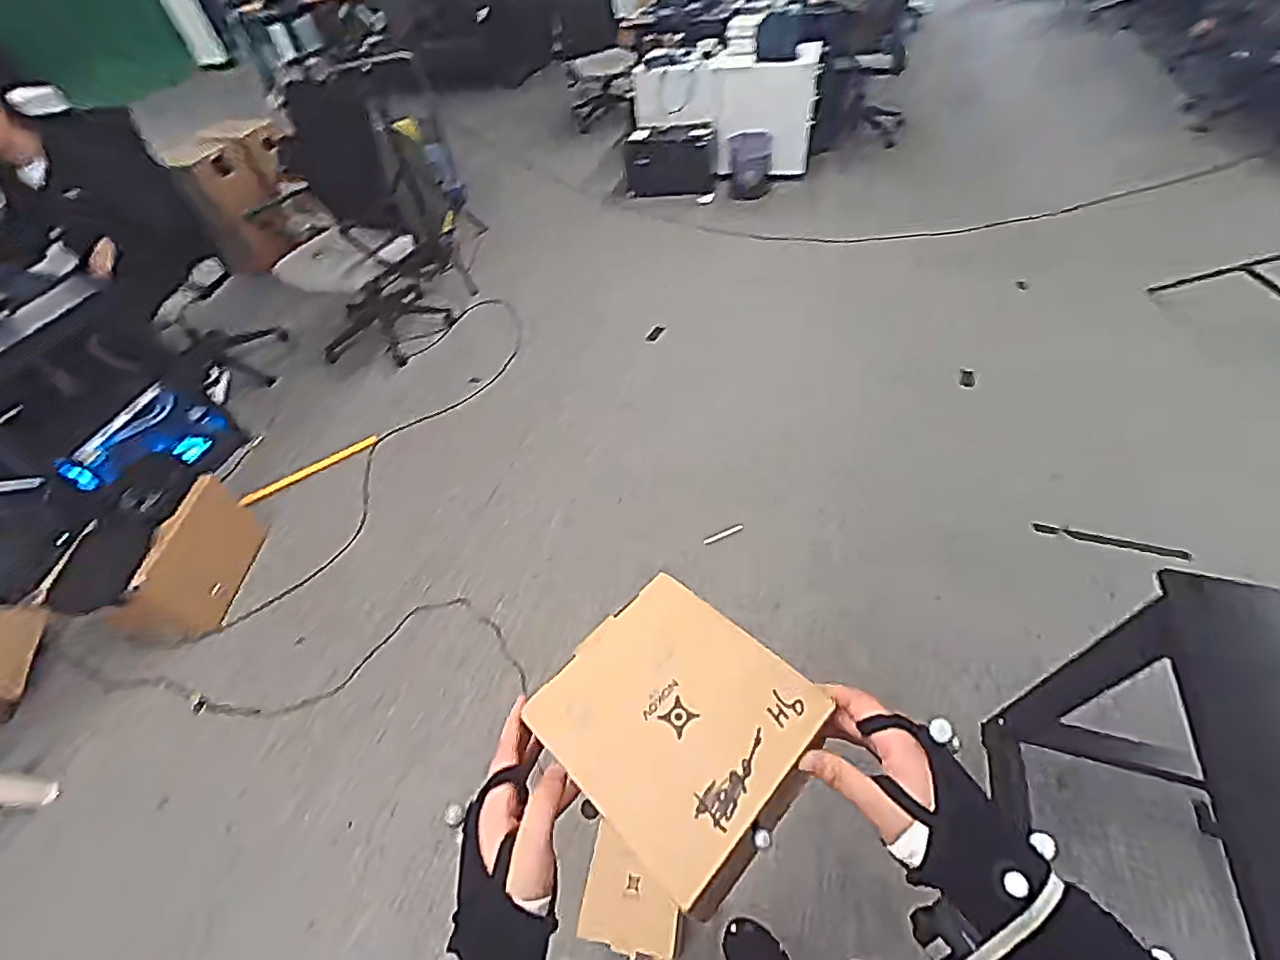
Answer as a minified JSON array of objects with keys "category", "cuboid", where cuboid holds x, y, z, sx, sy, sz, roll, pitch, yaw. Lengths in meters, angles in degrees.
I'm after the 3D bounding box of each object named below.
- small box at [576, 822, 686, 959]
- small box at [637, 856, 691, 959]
[{"category":"small box","cuboid":[-0.006,0.762,1.001,0.168,0.176,0.179,5,50,10]},{"category":"small box","cuboid":[0.011,0.871,1.120,0.168,0.176,0.179,7,52,13]}]
